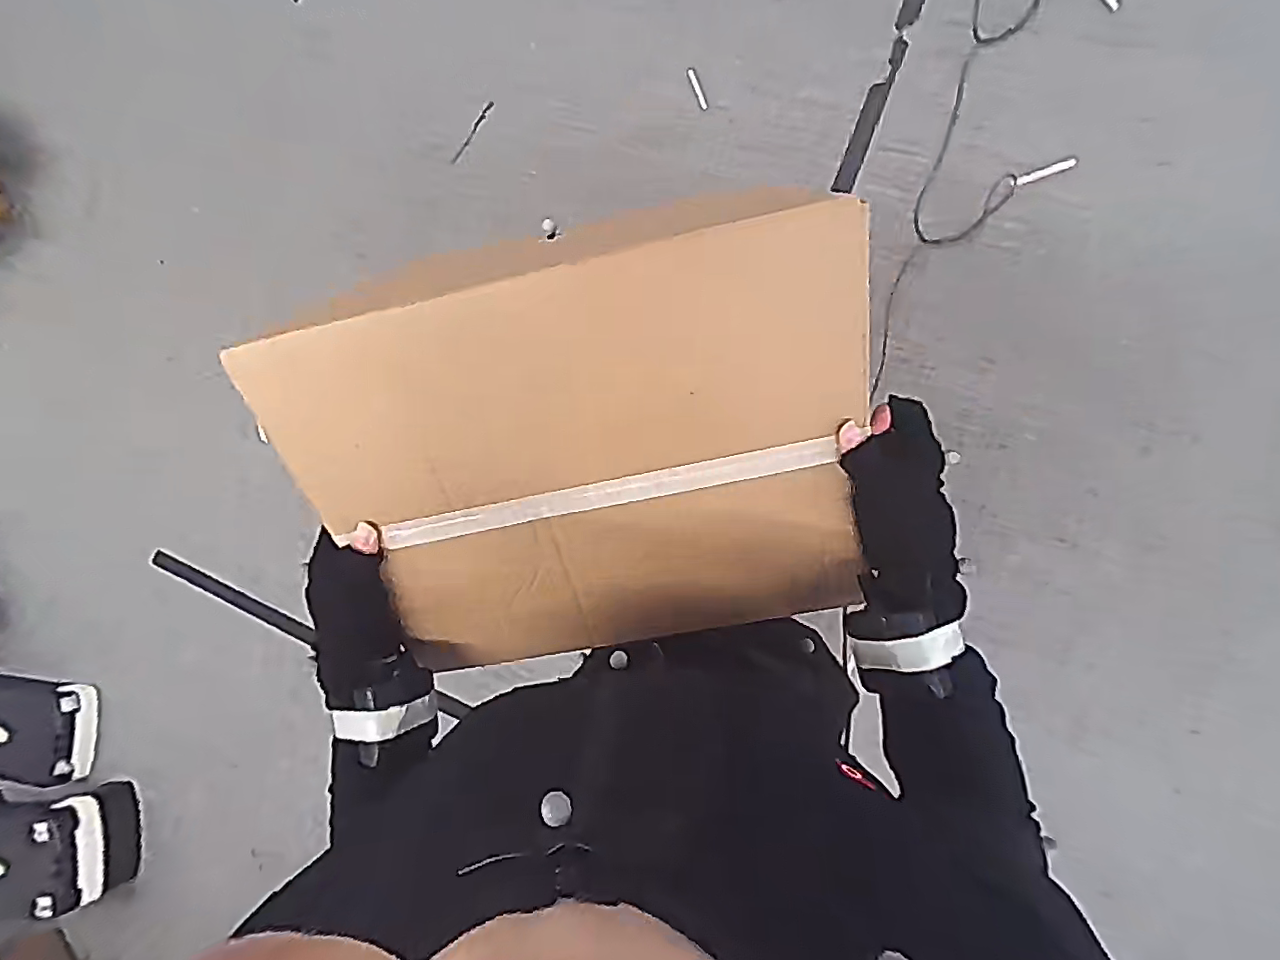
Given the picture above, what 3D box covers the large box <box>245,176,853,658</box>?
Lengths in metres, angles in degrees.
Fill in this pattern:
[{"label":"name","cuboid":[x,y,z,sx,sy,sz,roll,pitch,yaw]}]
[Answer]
[{"label":"large box","cuboid":[-0.043,-0.075,0.544,0.408,0.320,0.320,-12,120,7]}]
